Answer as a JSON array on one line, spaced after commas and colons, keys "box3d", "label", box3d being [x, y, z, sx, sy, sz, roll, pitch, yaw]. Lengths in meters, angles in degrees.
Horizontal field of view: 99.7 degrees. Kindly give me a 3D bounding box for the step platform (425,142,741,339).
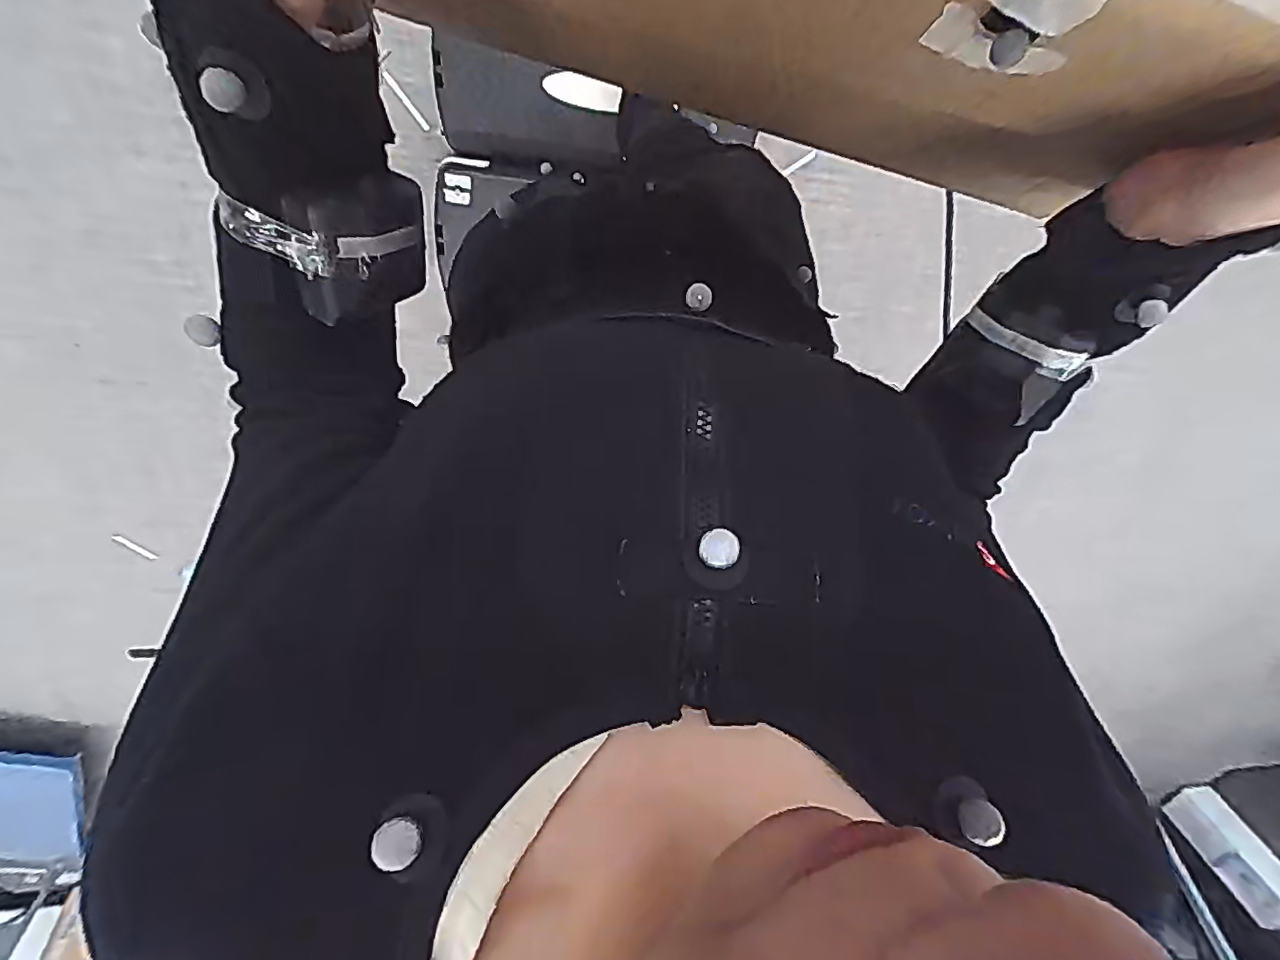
[{"box3d": [-0.122, -0.529, 1.229, 0.684, 0.204, 0.286, 7, 124, -12], "label": "step platform"}]
